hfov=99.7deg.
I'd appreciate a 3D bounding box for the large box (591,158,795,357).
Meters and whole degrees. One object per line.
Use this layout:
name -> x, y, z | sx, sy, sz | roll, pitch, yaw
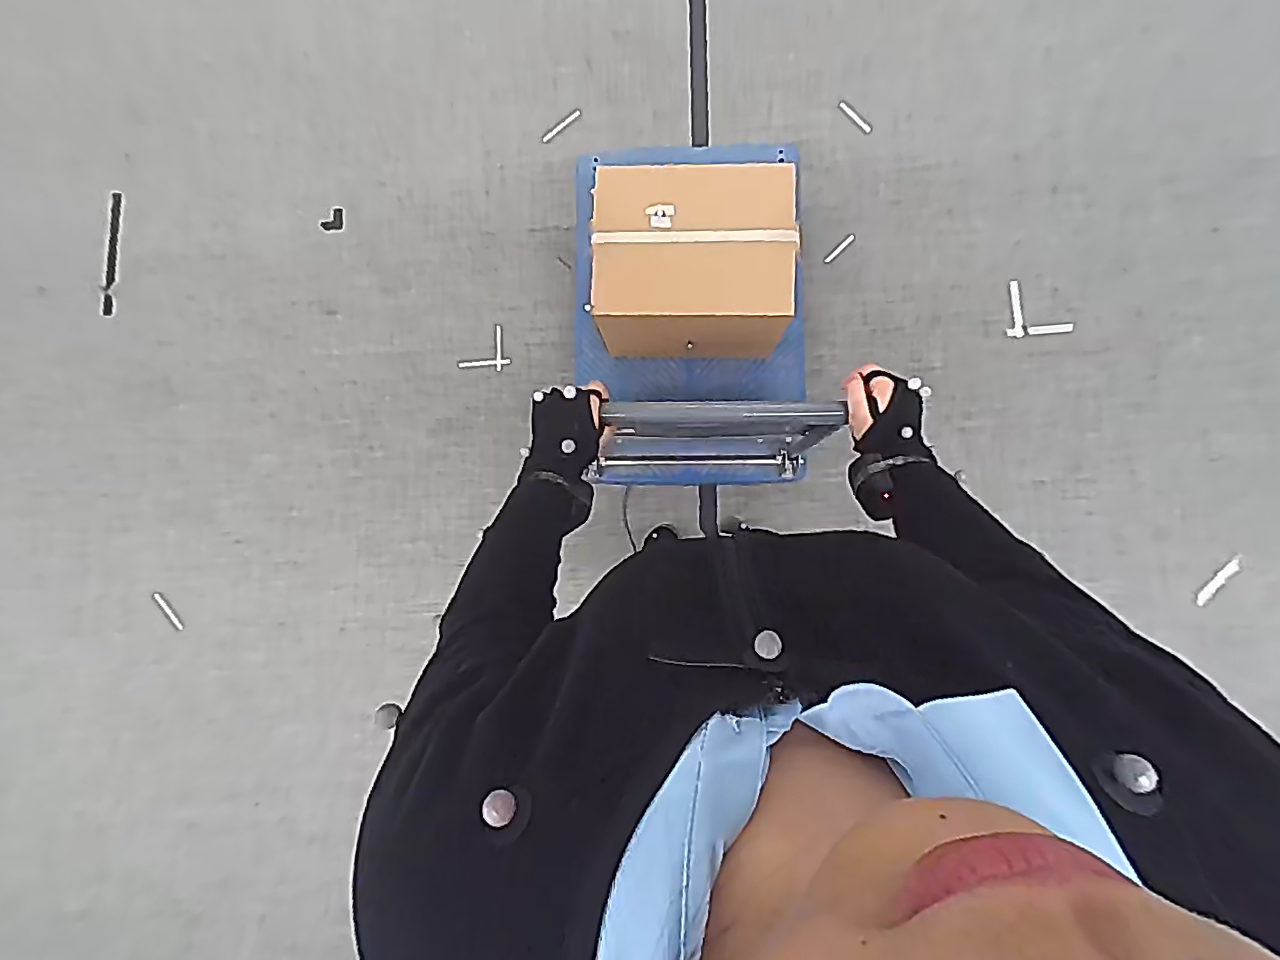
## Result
large box -> 0.118, -0.470, 1.214 | 0.408, 0.320, 0.320 | 1, 85, 6
